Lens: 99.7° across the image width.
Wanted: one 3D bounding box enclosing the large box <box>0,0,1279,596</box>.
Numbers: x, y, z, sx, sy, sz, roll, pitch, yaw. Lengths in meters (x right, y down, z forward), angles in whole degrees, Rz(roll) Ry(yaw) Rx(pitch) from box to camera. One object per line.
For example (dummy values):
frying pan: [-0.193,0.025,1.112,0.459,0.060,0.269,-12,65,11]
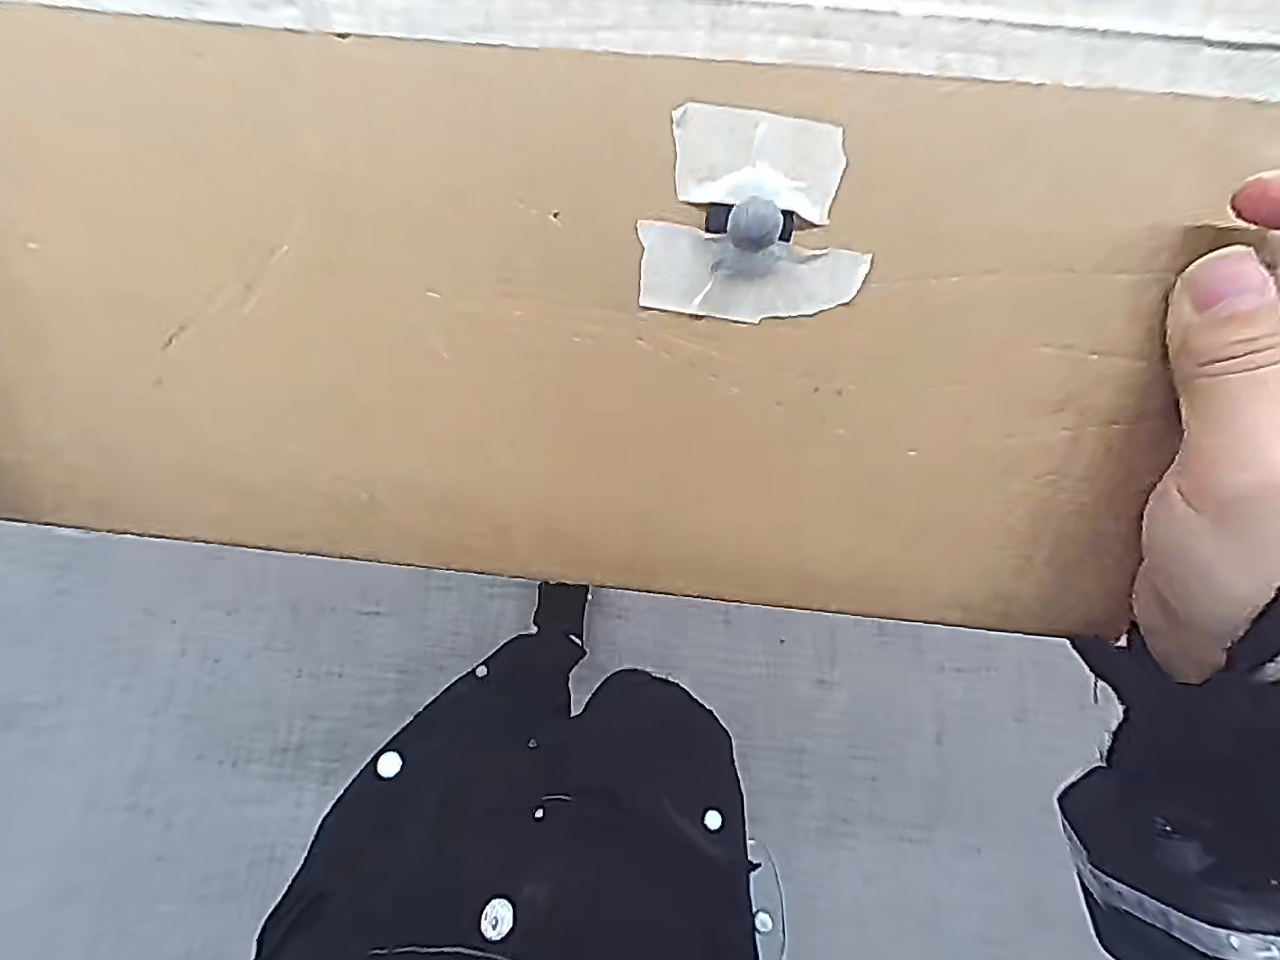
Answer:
large box: [-0.025,-0.166,0.282,0.408,0.320,0.320,5,110,0]
